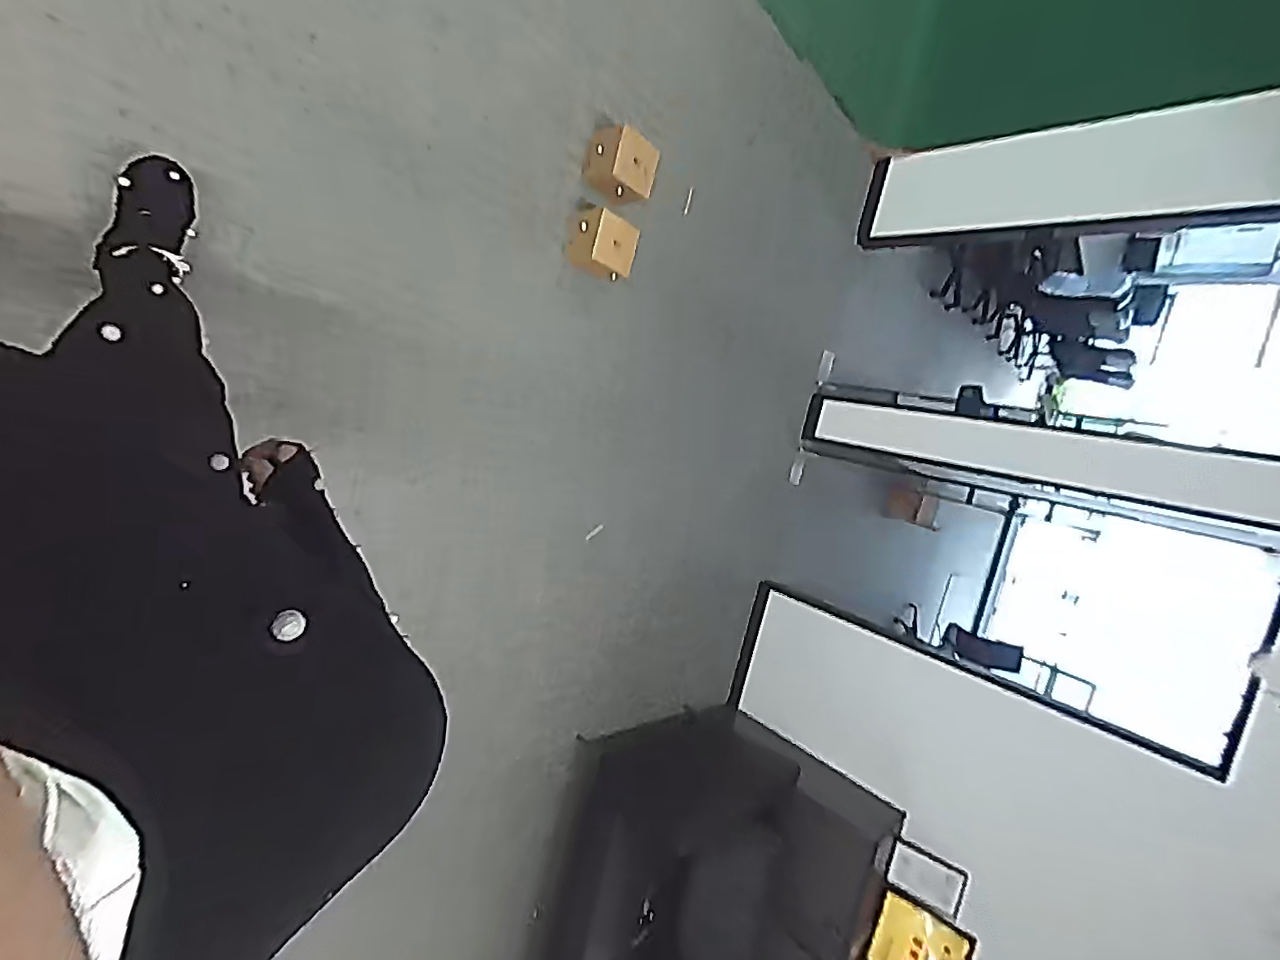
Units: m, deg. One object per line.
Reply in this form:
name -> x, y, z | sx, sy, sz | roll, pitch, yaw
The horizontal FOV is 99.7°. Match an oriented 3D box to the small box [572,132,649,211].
small box -> -0.103, -1.034, 1.832 | 0.179, 0.176, 0.168 | 13, 95, -49

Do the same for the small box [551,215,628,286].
small box -> -0.177, -0.777, 1.851 | 0.179, 0.176, 0.168 | 13, 95, -49
